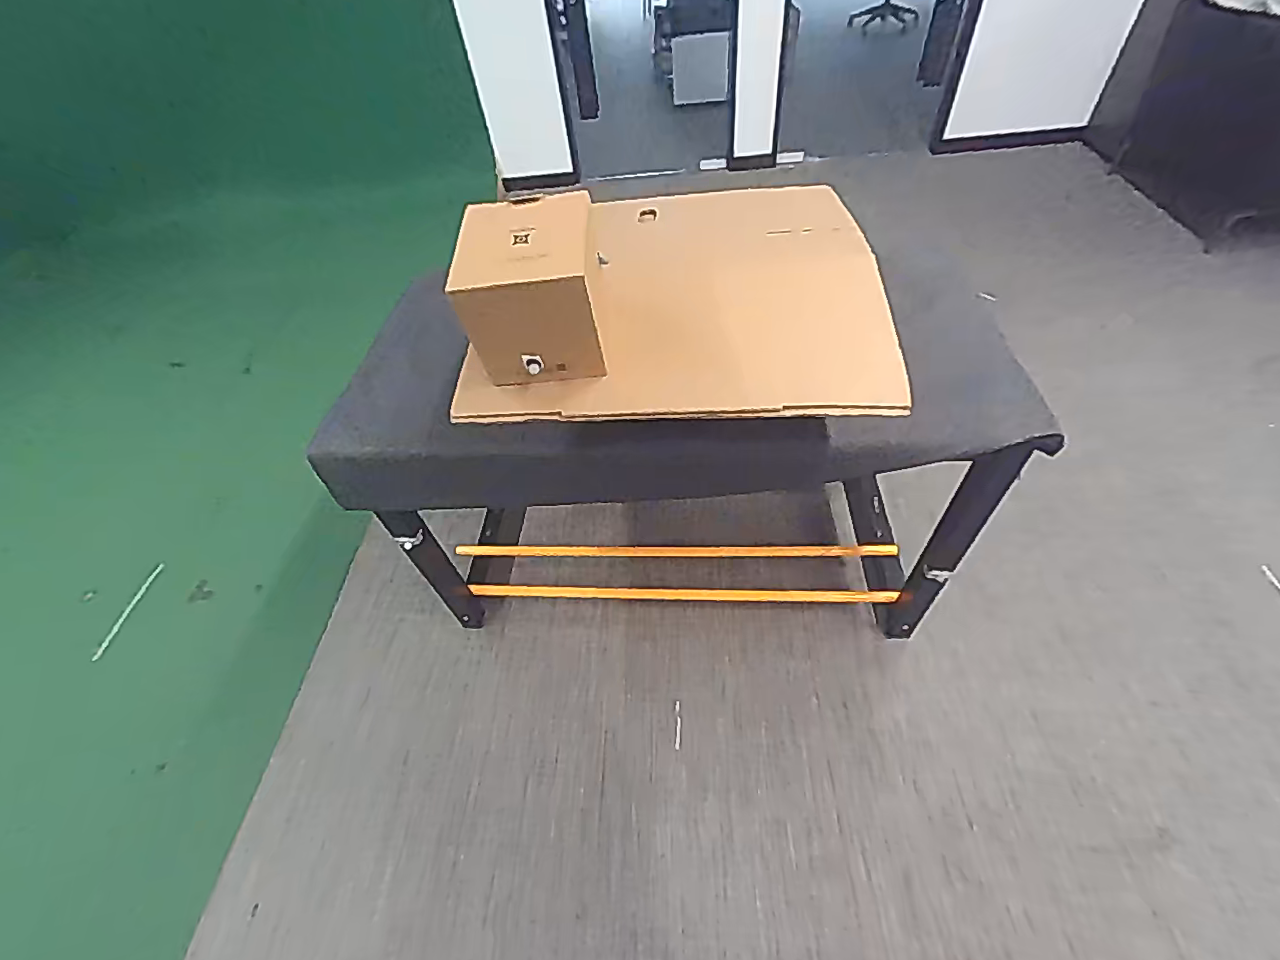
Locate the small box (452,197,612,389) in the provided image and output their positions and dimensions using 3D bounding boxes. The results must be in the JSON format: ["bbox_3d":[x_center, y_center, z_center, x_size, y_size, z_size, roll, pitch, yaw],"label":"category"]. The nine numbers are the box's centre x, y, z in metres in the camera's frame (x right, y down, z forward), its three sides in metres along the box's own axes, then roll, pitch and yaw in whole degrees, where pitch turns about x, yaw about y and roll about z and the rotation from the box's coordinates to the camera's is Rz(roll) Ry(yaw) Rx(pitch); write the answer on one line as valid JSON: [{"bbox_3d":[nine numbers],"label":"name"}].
[{"bbox_3d":[-0.133,-0.248,0.735,0.168,0.176,0.179,-6,58,5],"label":"small box"}]
